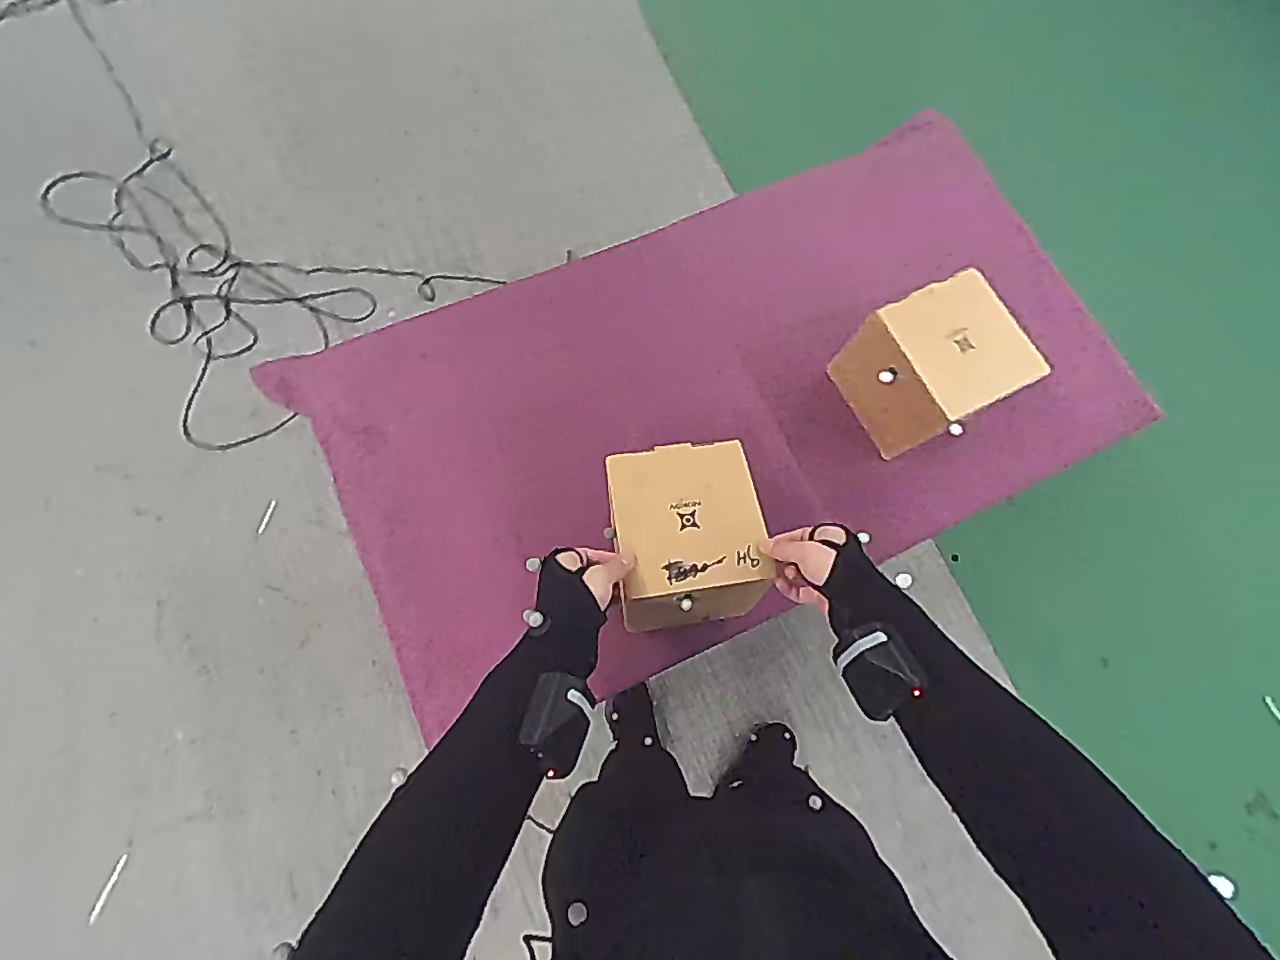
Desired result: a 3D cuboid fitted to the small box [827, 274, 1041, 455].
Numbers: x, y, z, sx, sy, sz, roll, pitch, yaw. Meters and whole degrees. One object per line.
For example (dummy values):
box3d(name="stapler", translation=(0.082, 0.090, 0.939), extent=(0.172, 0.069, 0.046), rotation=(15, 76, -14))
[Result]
box3d(name="small box", translation=(0.405, -0.151, 0.779), extent=(0.168, 0.176, 0.179), rotation=(-25, 77, -9))

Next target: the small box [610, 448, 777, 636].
box3d(name="small box", translation=(0.053, 0.082, 0.677), extent=(0.168, 0.176, 0.179), rotation=(-7, 64, -4))
